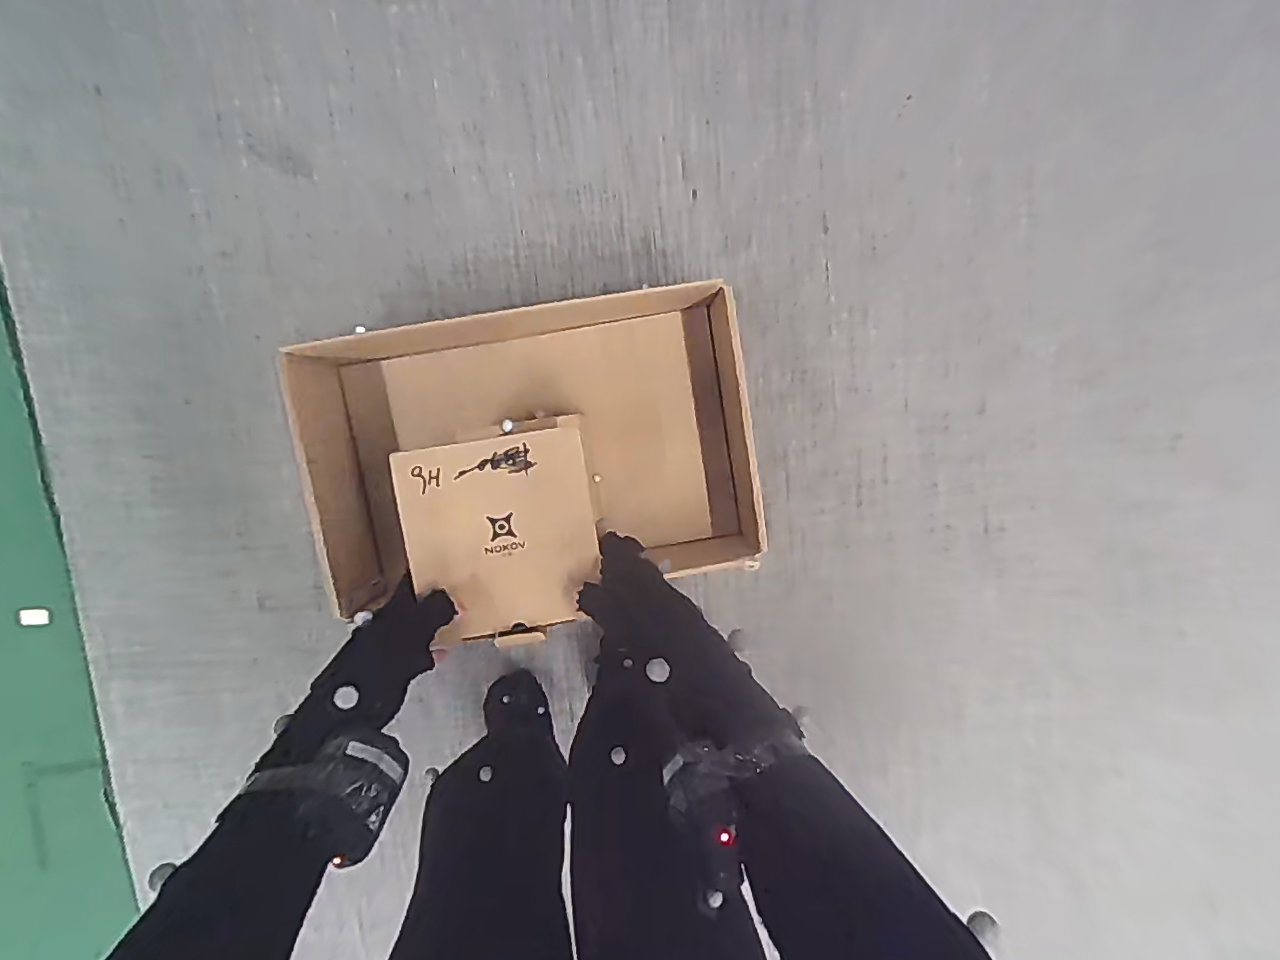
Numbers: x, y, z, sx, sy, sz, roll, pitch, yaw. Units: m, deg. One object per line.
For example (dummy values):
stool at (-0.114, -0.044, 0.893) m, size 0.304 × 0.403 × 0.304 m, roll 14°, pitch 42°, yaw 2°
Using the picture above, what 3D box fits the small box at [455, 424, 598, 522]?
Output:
small box at (-0.156, 0.013, 0.799) m, size 0.168 × 0.176 × 0.179 m, roll -8°, pitch 94°, yaw -2°

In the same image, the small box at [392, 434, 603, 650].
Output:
small box at (-0.129, 0.049, 0.558) m, size 0.168 × 0.176 × 0.179 m, roll -9°, pitch 96°, yaw -4°
